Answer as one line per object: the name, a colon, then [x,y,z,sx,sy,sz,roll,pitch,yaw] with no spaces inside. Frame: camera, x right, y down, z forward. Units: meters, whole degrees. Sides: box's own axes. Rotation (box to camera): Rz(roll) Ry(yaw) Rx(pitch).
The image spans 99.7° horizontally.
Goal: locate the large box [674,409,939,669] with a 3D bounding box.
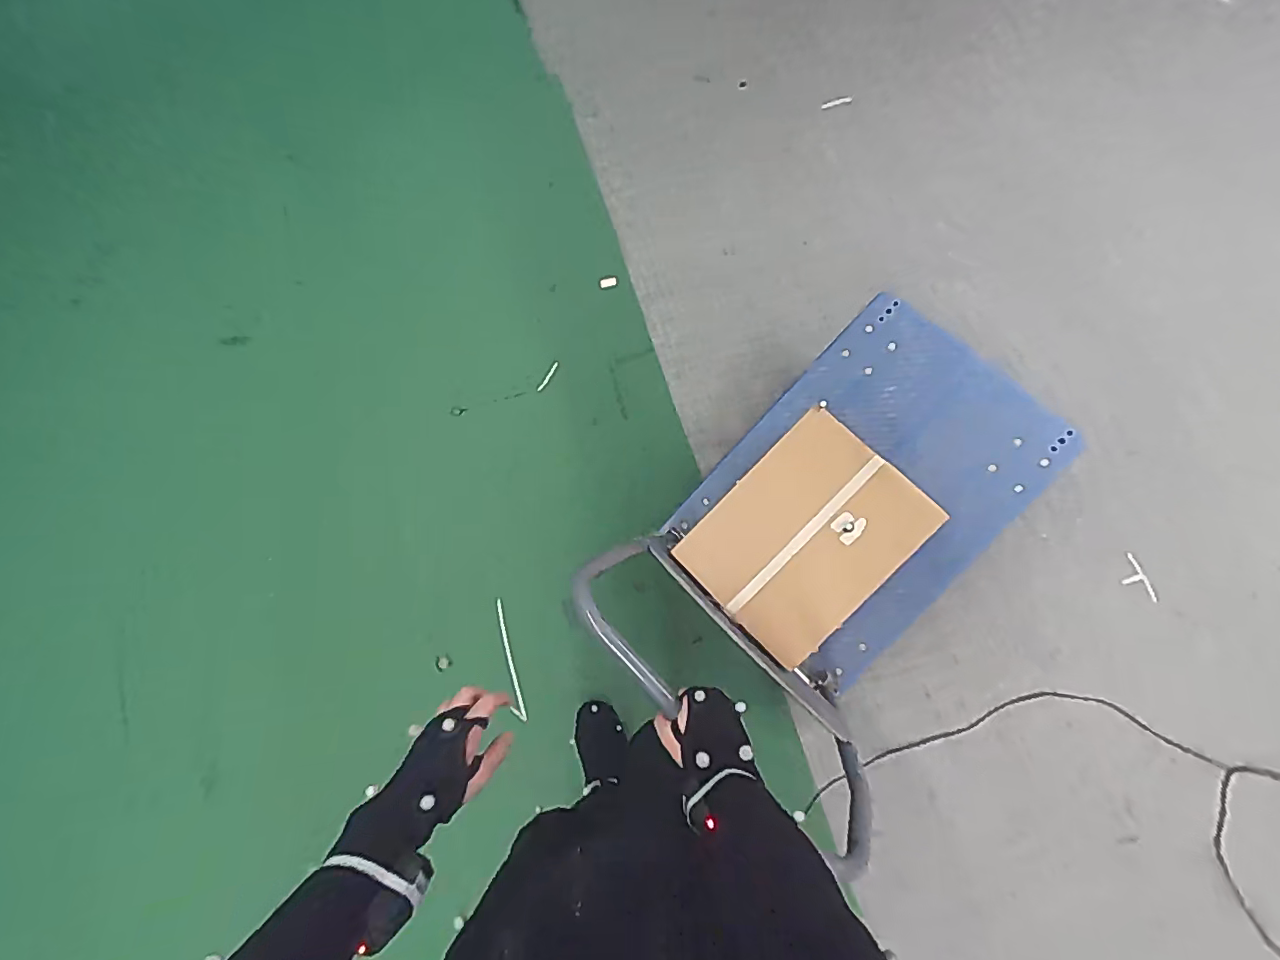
large box: [0.331,0.127,1.163,0.408,0.320,0.320,-46,77,2]
